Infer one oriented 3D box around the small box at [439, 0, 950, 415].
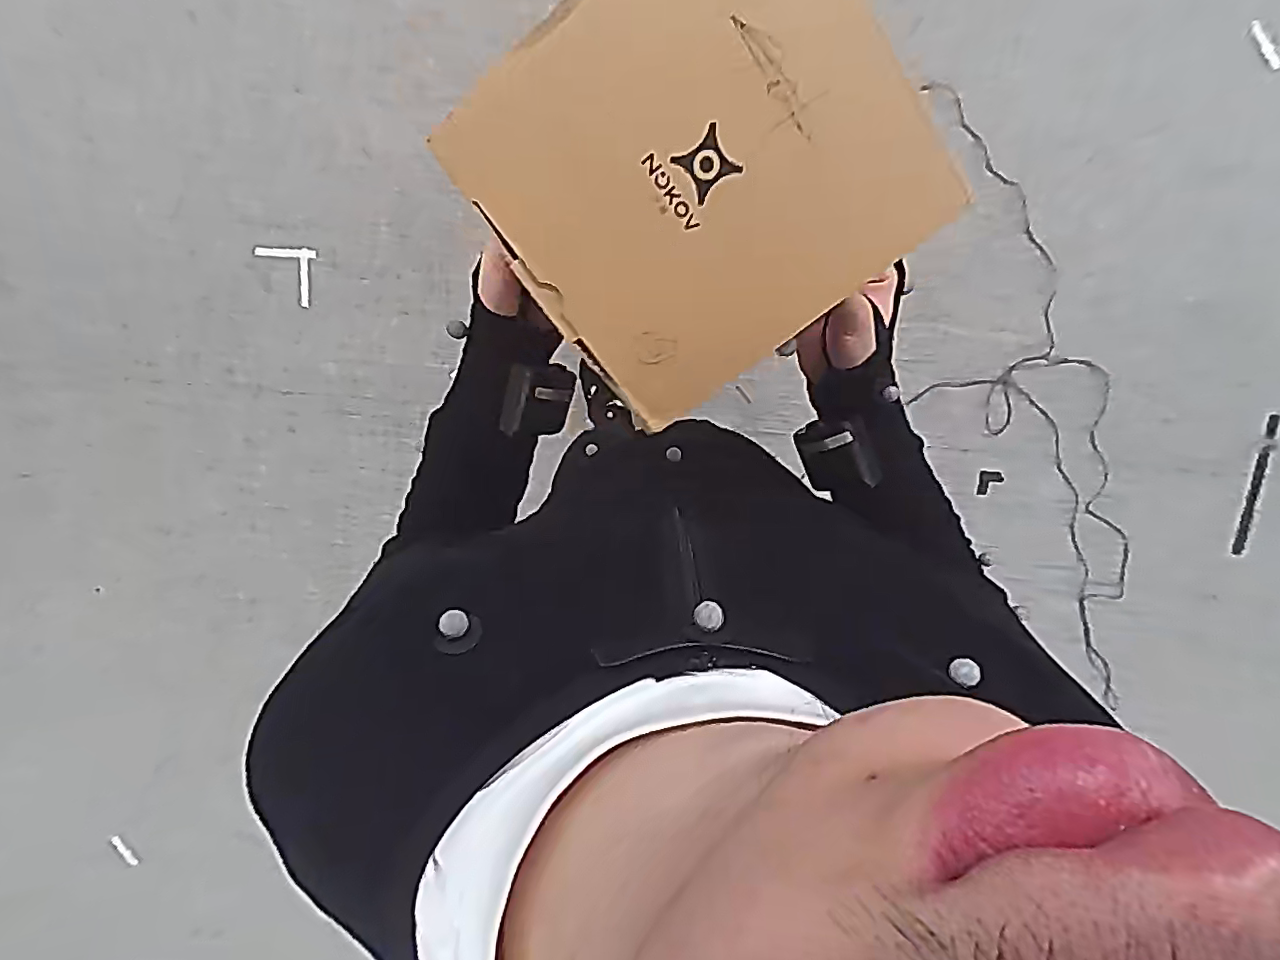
[{"bbox_3d":[0.027,-0.165,0.318,0.179,0.176,0.168,-37,104,12],"label":"small box"}]
